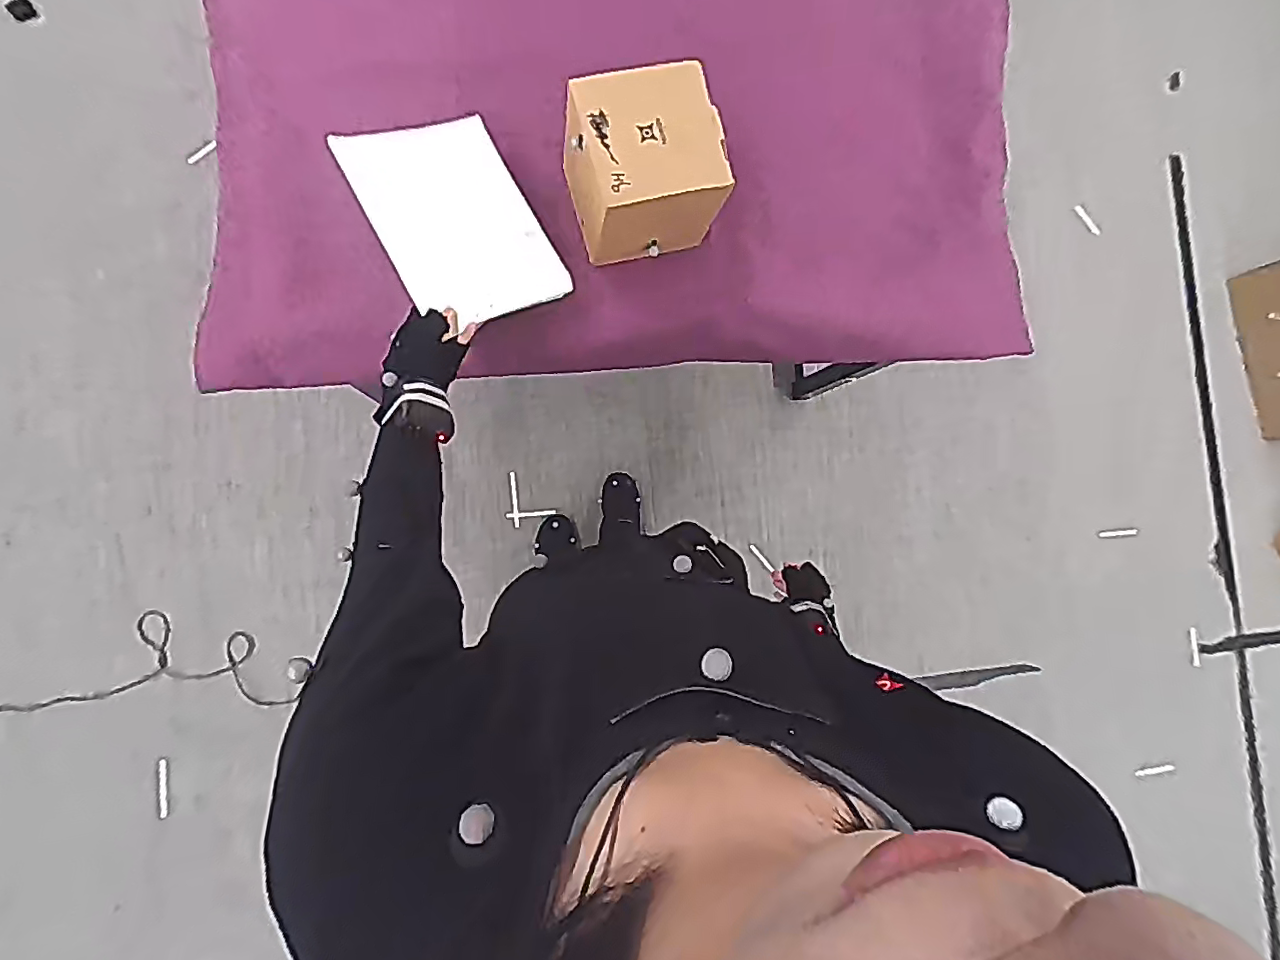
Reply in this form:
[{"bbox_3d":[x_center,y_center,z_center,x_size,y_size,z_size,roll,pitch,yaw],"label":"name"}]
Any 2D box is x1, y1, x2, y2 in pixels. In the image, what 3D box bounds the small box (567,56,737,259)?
[{"bbox_3d":[0.007,-0.431,0.744,0.179,0.176,0.168,-16,89,-11],"label":"small box"}]
